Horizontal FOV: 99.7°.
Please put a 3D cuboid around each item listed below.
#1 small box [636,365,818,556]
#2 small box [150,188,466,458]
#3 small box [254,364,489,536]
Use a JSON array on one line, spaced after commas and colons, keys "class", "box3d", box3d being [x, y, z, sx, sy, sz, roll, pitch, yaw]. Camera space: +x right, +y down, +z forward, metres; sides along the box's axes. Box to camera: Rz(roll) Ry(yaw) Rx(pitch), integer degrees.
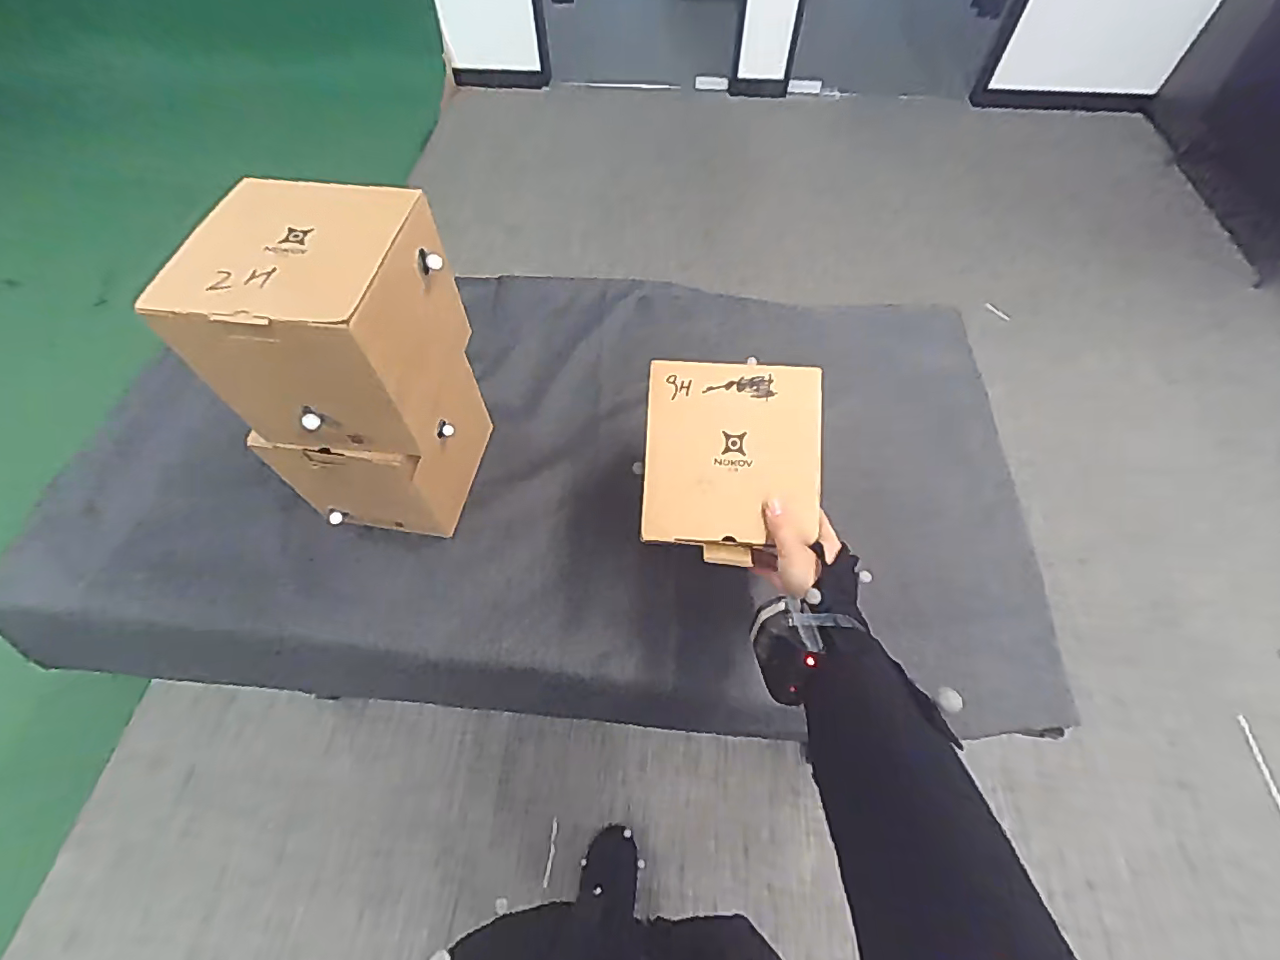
[{"class": "small box", "box3d": [0.086, -0.012, 0.592, 0.168, 0.176, 0.179, 3, 83, 2]}, {"class": "small box", "box3d": [-0.281, -0.144, 0.513, 0.168, 0.176, 0.179, 5, 58, 4]}, {"class": "small box", "box3d": [-0.297, -0.051, 0.649, 0.168, 0.176, 0.179, 8, 57, 4]}]
